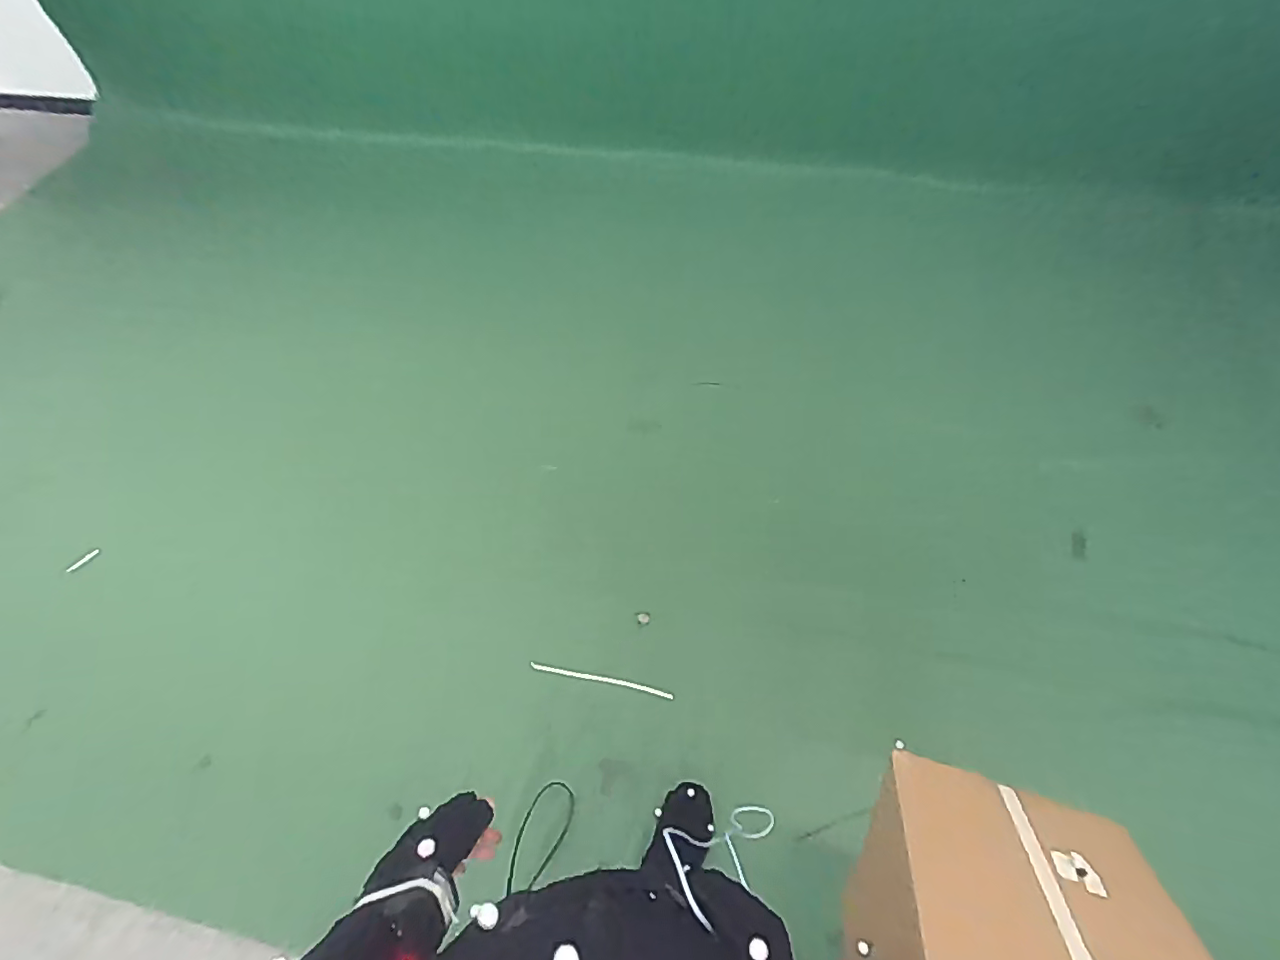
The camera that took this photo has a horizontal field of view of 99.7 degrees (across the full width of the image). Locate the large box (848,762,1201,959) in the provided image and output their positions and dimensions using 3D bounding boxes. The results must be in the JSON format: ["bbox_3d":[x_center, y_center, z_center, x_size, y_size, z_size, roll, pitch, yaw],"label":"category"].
[{"bbox_3d":[0.448,0.645,0.649,0.320,0.408,0.320,14,102,17],"label":"large box"}]
